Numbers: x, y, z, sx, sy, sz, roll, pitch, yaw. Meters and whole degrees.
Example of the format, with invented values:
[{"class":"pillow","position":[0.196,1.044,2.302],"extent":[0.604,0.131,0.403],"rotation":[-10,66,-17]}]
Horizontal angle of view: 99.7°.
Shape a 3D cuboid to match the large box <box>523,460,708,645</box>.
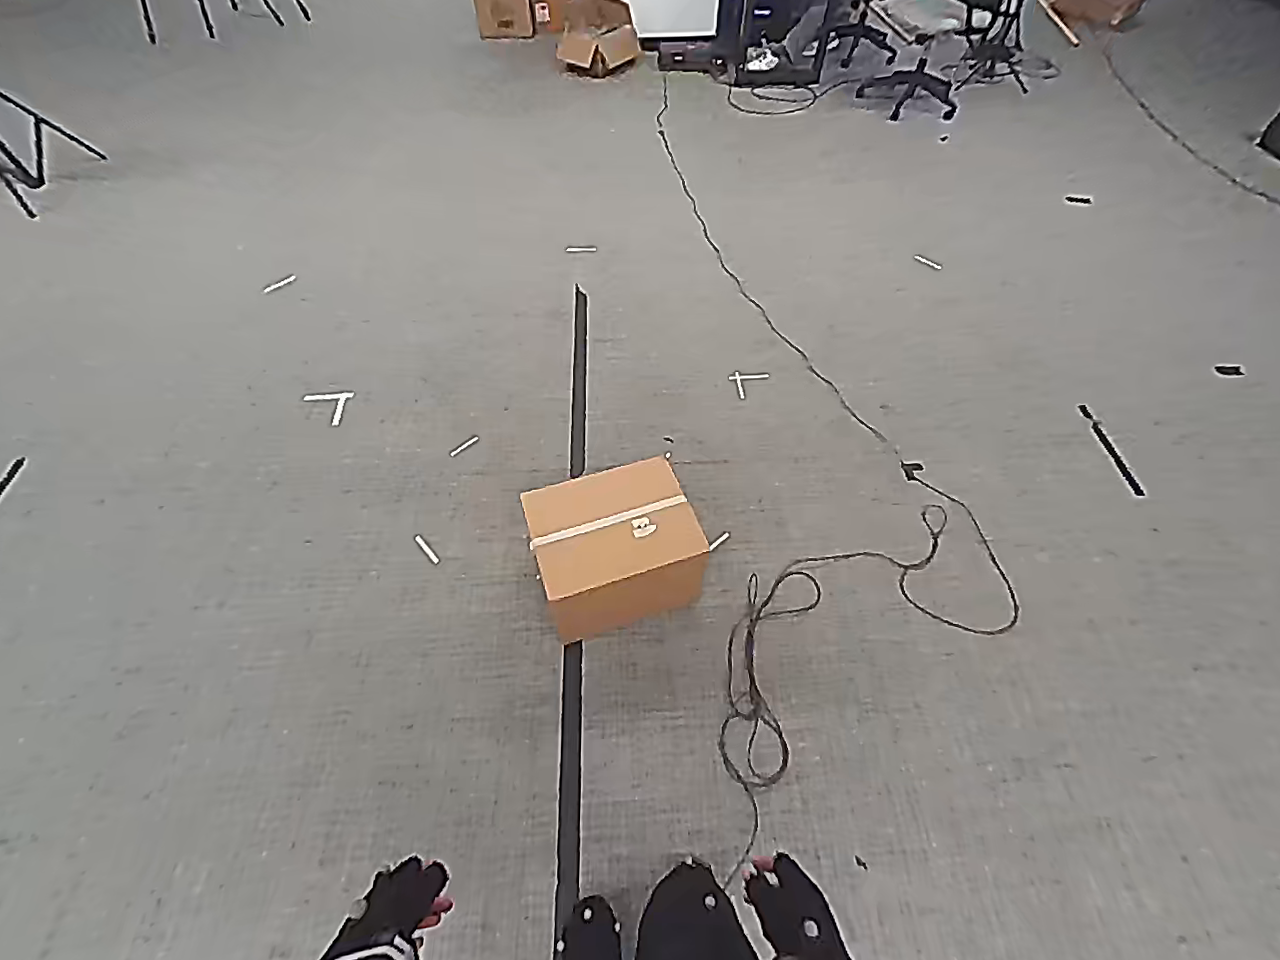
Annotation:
[{"class":"large box","position":[-0.072,0.199,1.476],"extent":[0.408,0.320,0.320],"rotation":[-15,56,-13]}]
